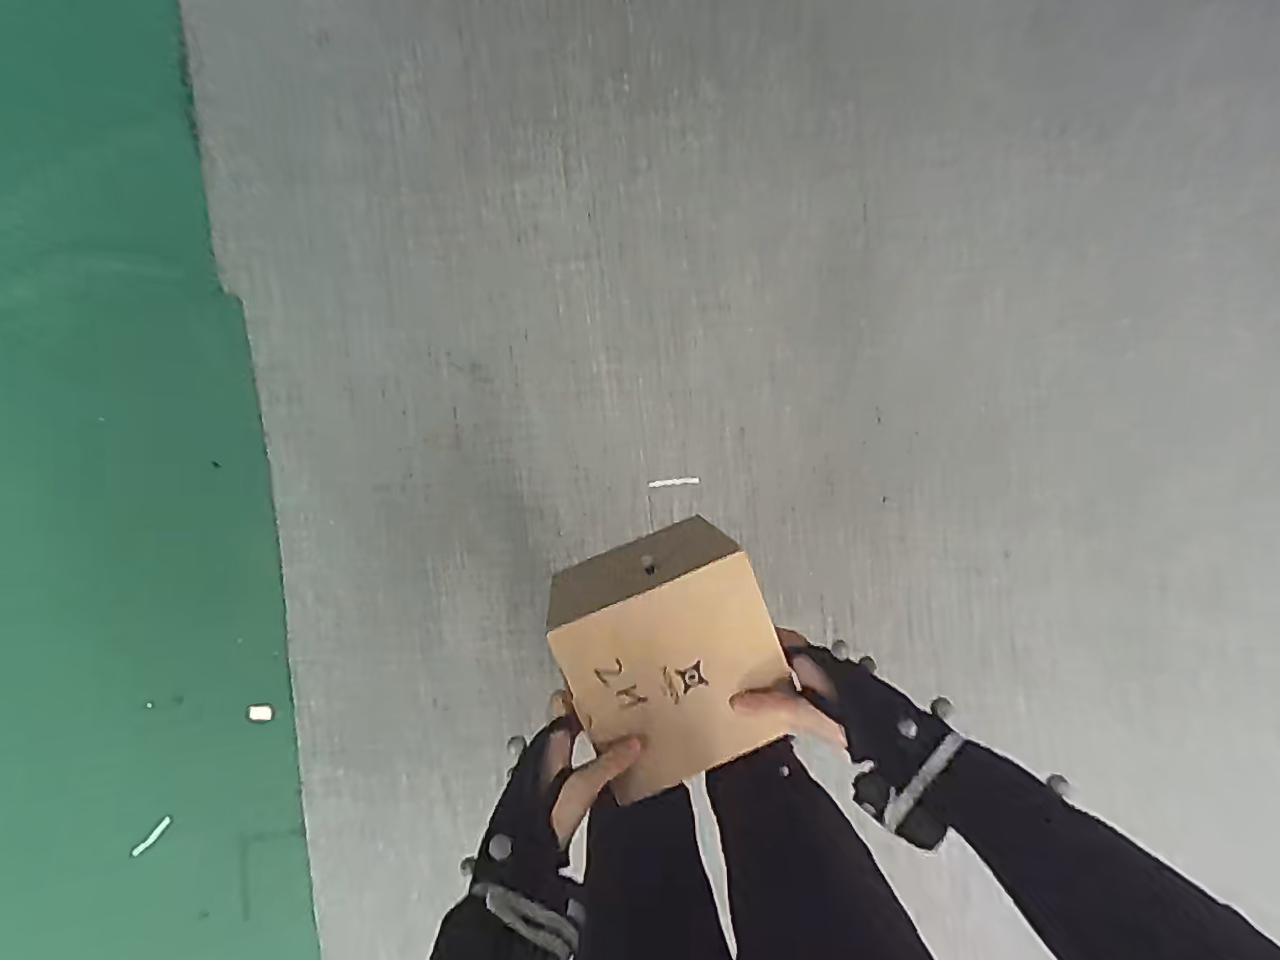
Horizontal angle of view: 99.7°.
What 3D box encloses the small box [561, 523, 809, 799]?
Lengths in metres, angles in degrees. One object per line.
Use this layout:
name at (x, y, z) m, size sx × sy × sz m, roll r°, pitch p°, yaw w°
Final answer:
small box at (0.031, 0.156, 0.529) m, size 0.179 × 0.176 × 0.168 m, roll -22°, pitch 98°, yaw -4°
